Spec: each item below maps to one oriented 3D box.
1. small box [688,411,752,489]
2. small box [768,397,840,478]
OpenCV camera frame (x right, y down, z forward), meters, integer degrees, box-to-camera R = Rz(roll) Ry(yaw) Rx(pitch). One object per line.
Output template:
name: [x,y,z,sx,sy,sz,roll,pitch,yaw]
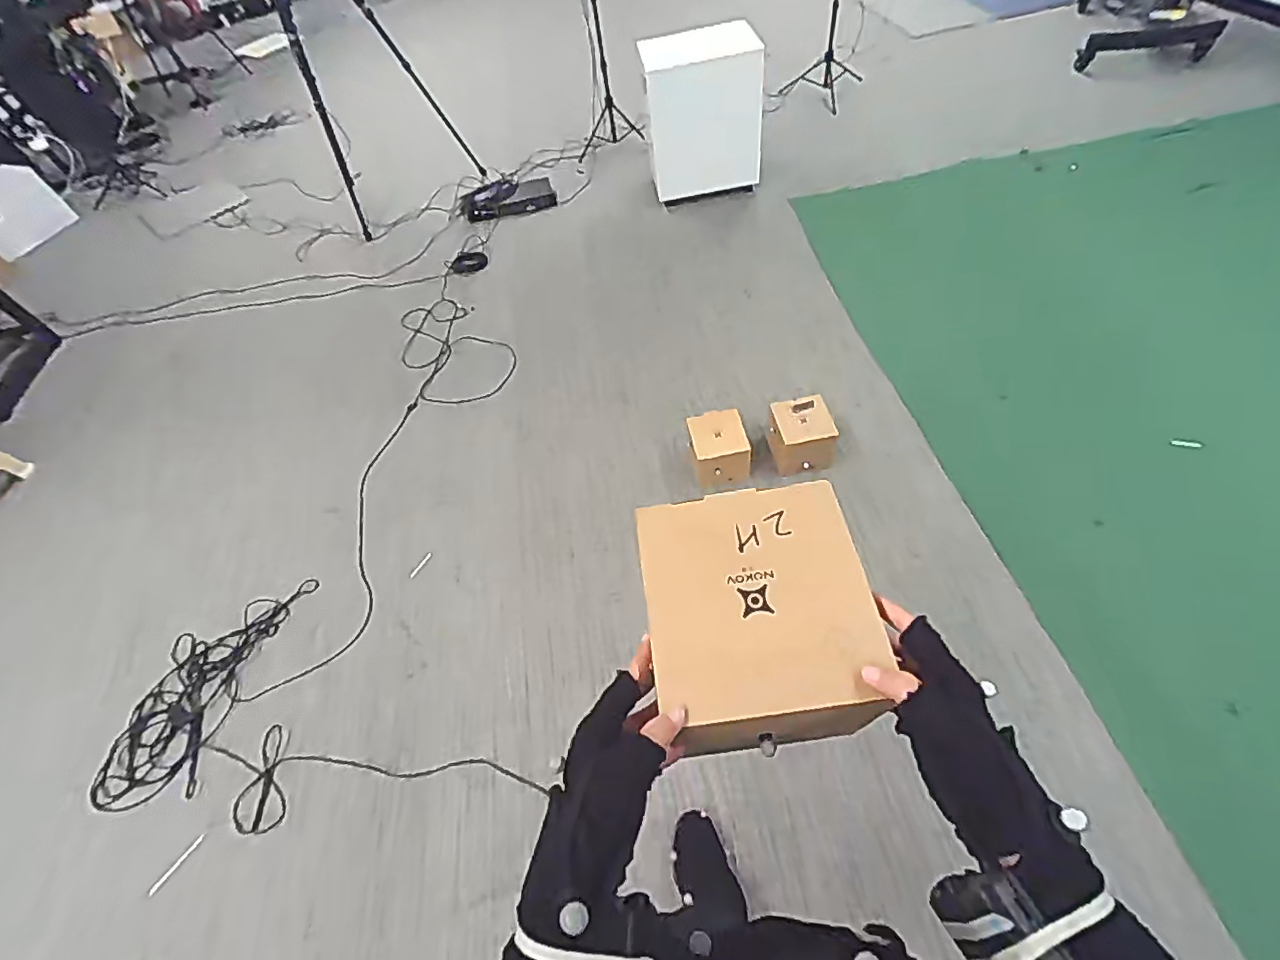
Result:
small box: [0.255,-0.089,1.729,0.168,0.176,0.179,-12,53,0]
small box: [0.514,-0.134,1.721,0.168,0.176,0.179,-11,55,1]
